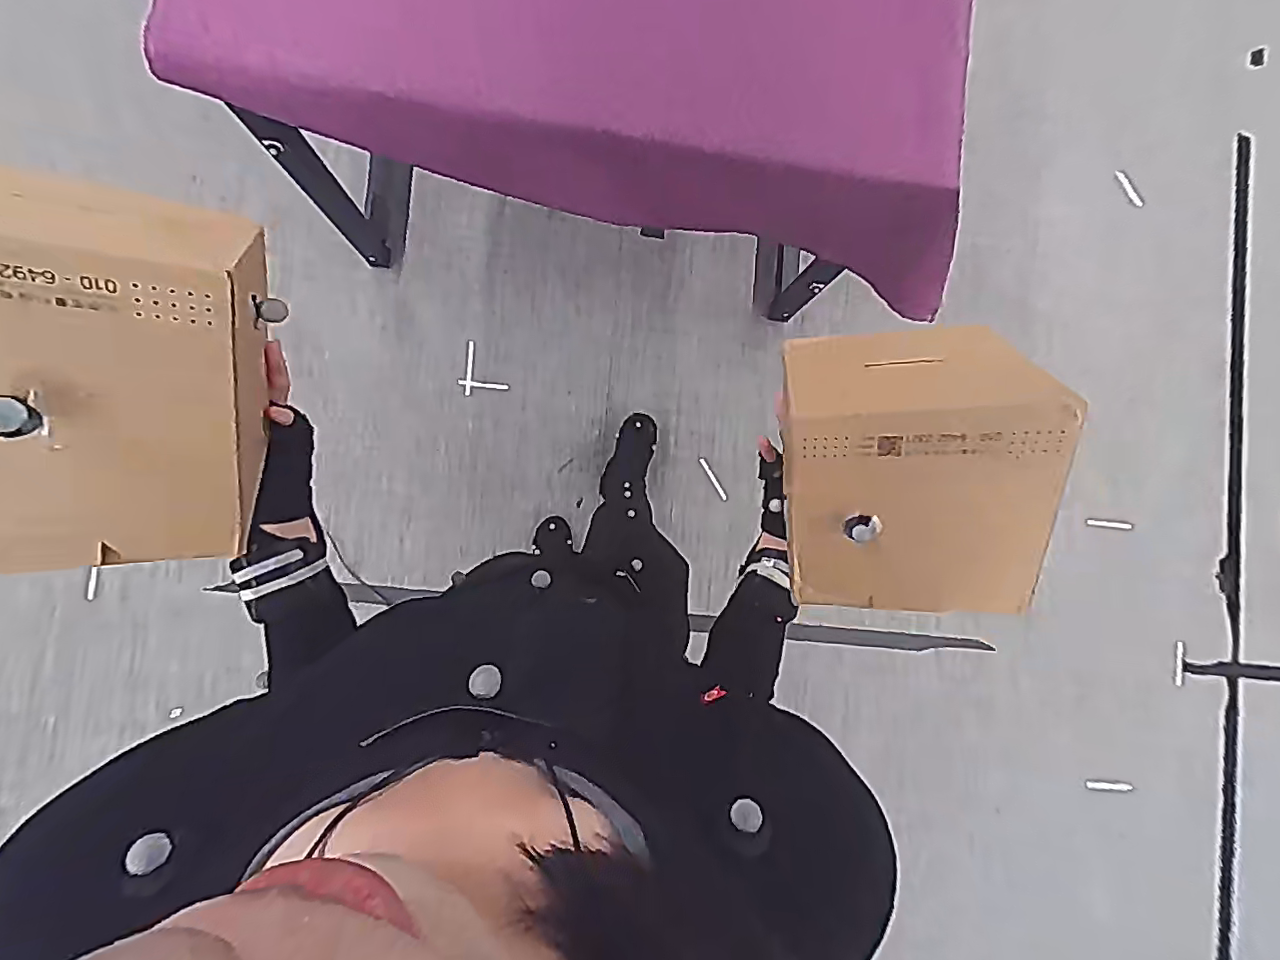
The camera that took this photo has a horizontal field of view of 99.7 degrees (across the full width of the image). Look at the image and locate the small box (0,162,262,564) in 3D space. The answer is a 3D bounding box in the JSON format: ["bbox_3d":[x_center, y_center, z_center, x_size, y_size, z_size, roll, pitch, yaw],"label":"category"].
[{"bbox_3d":[-0.315,-0.071,0.295,0.168,0.179,0.176,2,117,-31],"label":"small box"}]

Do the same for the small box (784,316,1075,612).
[{"bbox_3d":[0.202,-0.020,0.426,0.168,0.179,0.176,0,120,13],"label":"small box"}]
